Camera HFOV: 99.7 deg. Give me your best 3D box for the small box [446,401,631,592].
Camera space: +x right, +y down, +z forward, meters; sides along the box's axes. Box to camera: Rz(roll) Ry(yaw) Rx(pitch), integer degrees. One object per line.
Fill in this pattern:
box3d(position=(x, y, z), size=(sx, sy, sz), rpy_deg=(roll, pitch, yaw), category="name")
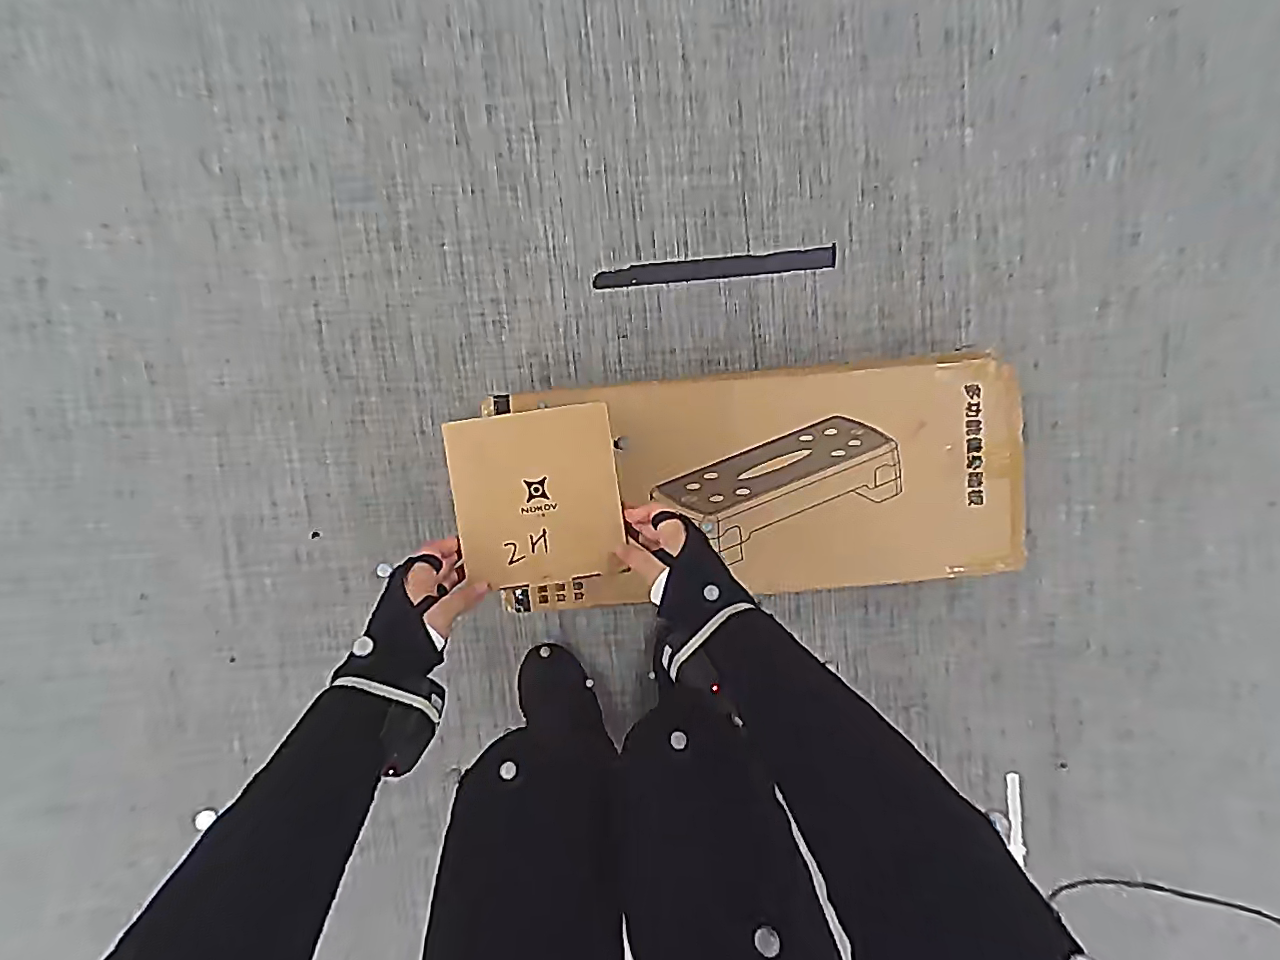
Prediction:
box3d(position=(-0.104, 0.013, 0.620), size=(0.168, 0.176, 0.179), rpy_deg=(-8, 94, -1), category="small box")
